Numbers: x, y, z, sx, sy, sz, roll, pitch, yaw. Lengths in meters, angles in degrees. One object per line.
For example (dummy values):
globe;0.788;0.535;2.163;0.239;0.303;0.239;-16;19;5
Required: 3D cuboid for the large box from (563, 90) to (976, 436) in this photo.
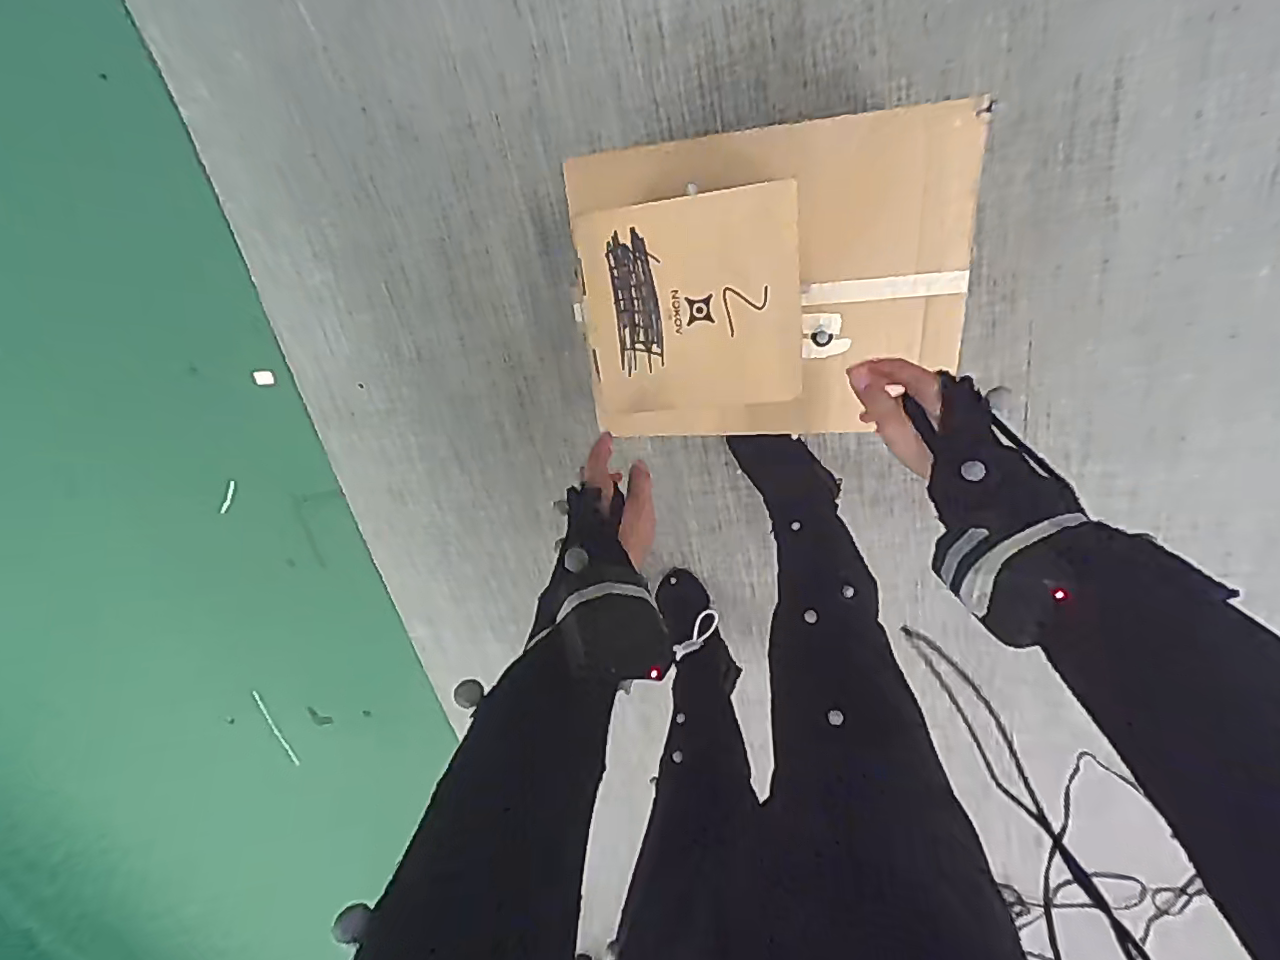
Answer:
large box;0.156;-0.261;0.718;0.408;0.320;0.320;-1;114;14
